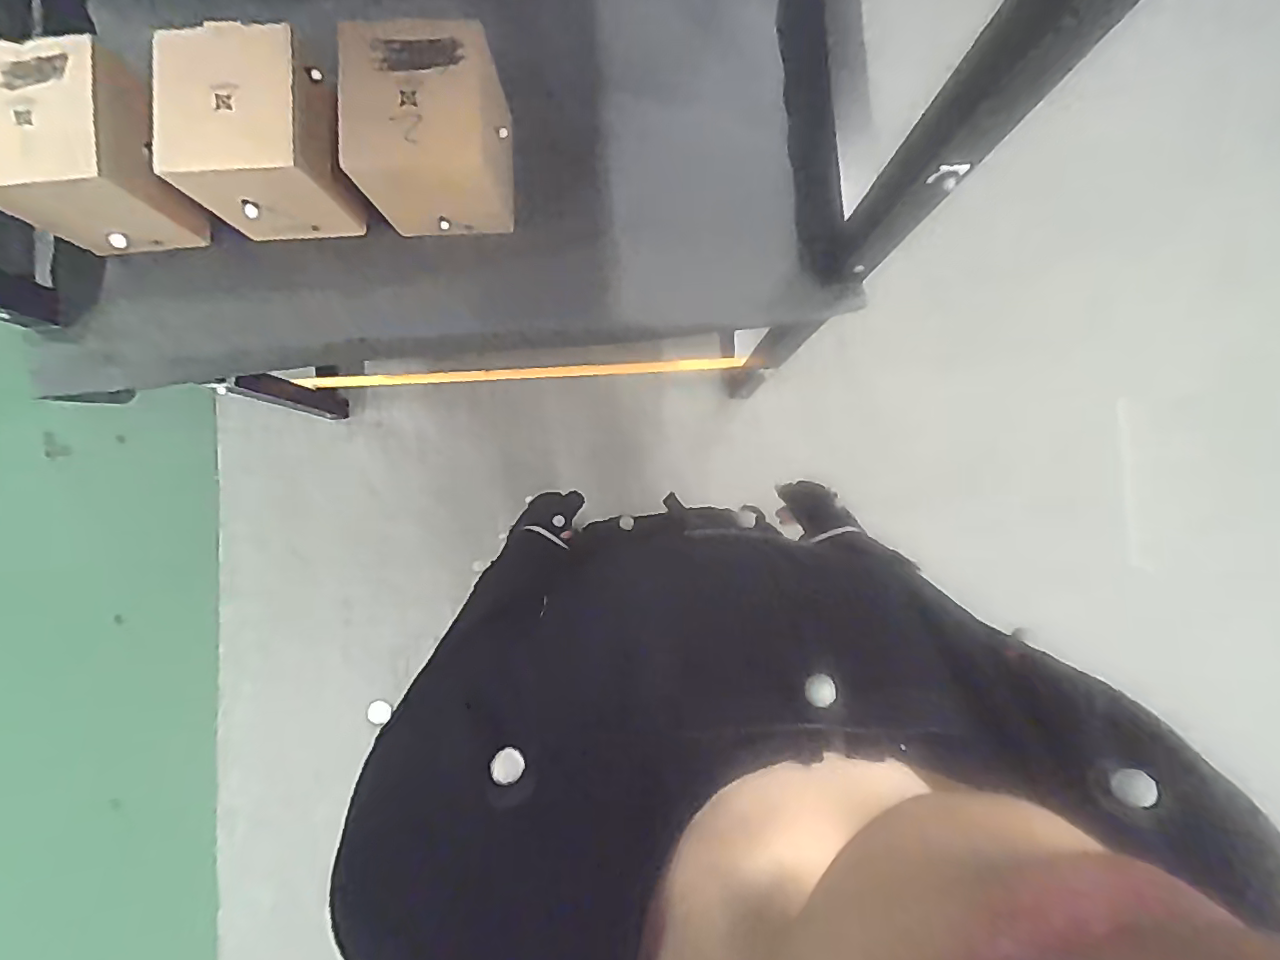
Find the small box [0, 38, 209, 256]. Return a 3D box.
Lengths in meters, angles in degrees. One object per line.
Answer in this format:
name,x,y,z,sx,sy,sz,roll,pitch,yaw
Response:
small box,-0.707,-0.420,0.705,0.168,0.176,0.179,-5,87,0

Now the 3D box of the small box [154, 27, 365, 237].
small box,-0.481,-0.436,0.708,0.168,0.176,0.179,-3,86,0
